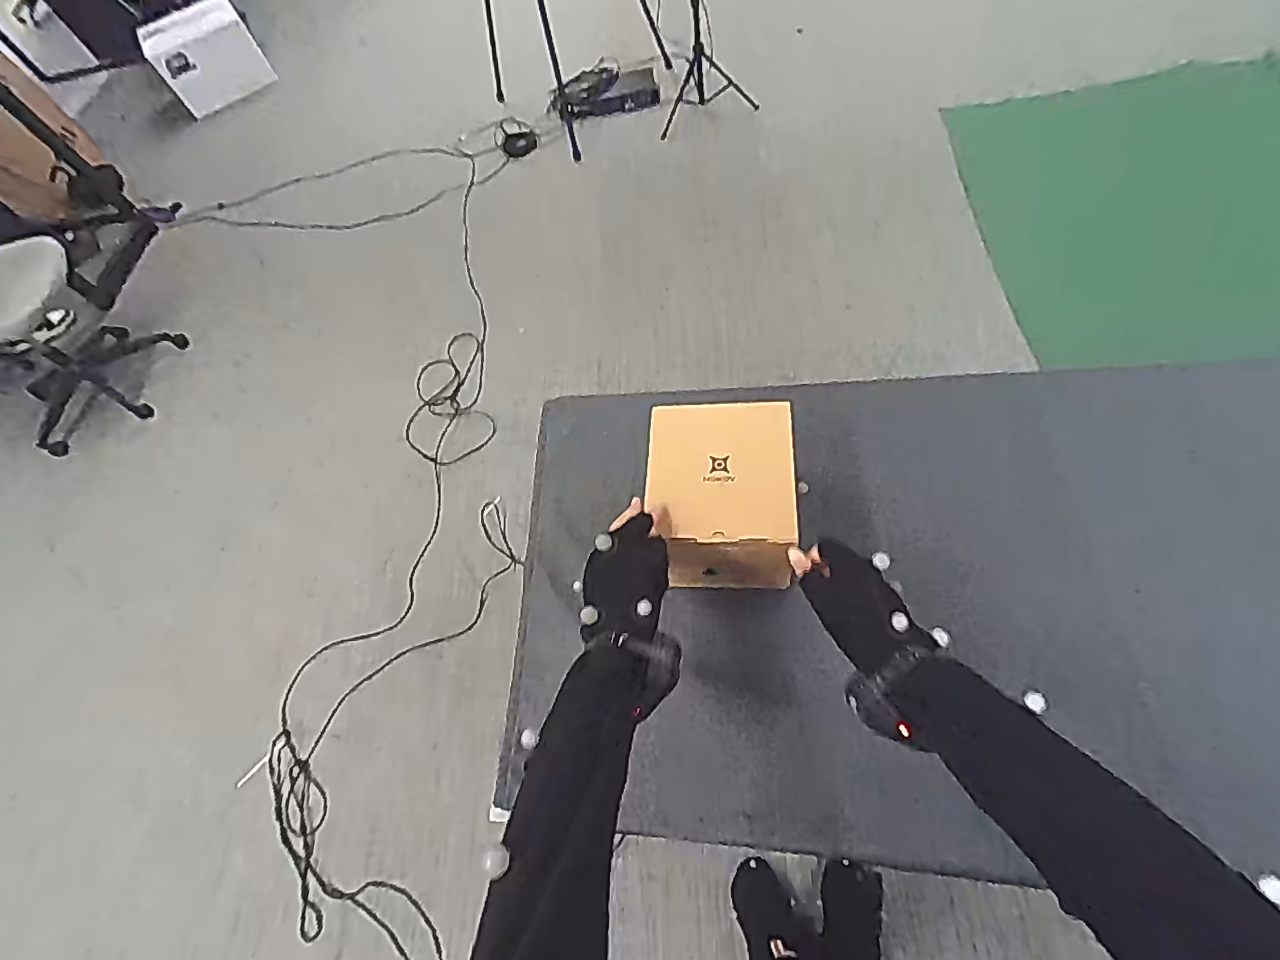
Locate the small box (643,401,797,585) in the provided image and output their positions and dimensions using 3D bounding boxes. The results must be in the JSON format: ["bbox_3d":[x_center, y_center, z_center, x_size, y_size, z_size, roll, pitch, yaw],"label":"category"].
[{"bbox_3d":[0.101,0.021,0.679,0.168,0.176,0.179,-1,63,10],"label":"small box"}]
